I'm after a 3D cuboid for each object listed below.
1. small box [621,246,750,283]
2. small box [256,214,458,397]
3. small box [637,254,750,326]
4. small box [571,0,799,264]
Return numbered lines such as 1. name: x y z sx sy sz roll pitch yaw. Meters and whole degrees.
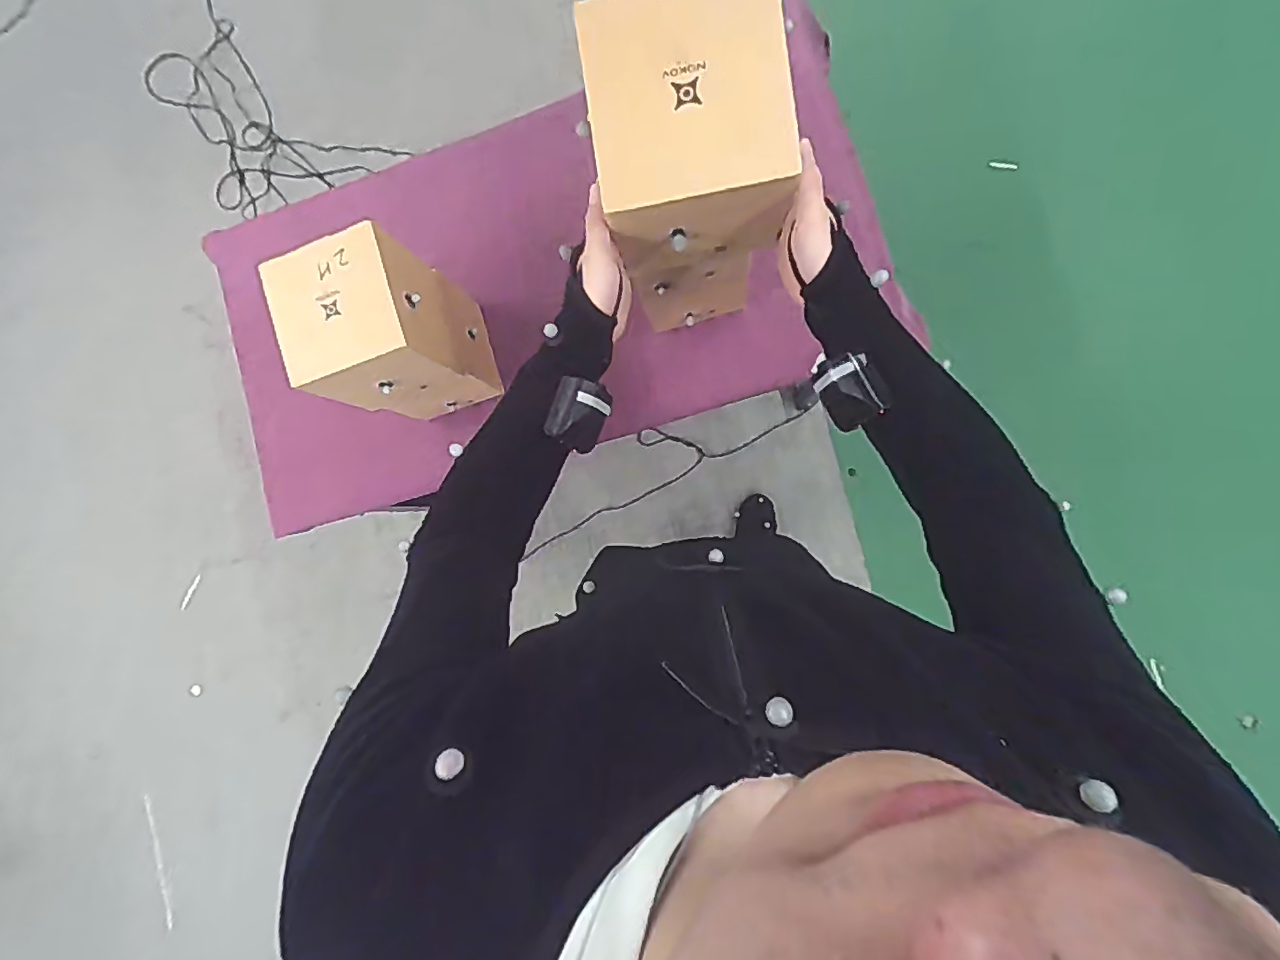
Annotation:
1. small box: 0.047 -0.379 0.705 0.168 0.176 0.179 -15 83 9
2. small box: -0.379 -0.225 0.755 0.168 0.176 0.179 -18 85 6
3. small box: 0.072 -0.373 0.867 0.168 0.176 0.179 -14 85 8
4. small box: 0.046 -0.320 0.508 0.168 0.176 0.179 -8 92 8
